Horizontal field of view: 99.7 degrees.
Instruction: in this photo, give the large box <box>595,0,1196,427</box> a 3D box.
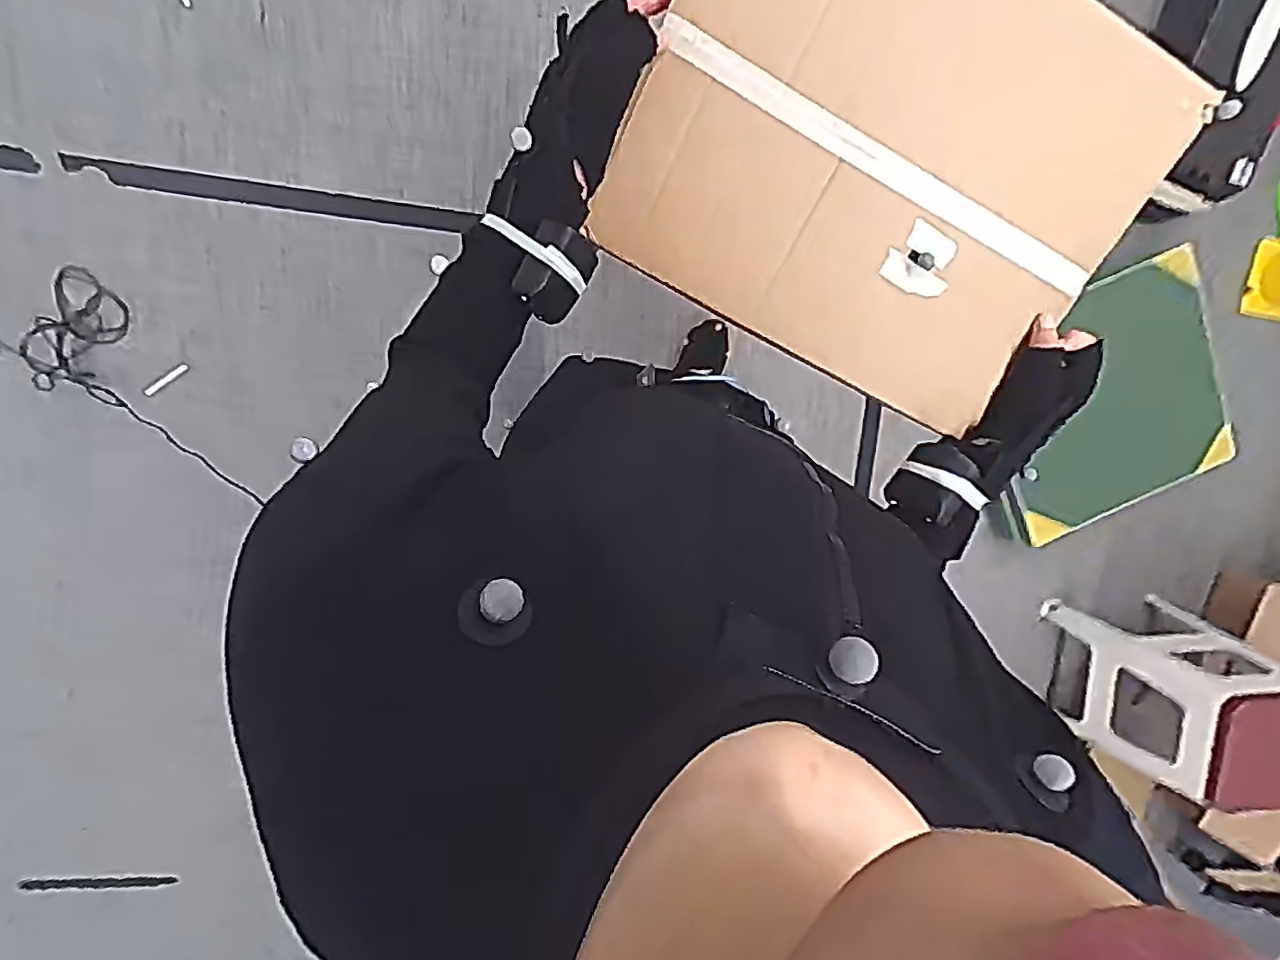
[{"bbox_3d":[0.199,-0.310,0.585,0.408,0.320,0.320,26,110,-10],"label":"large box"}]
